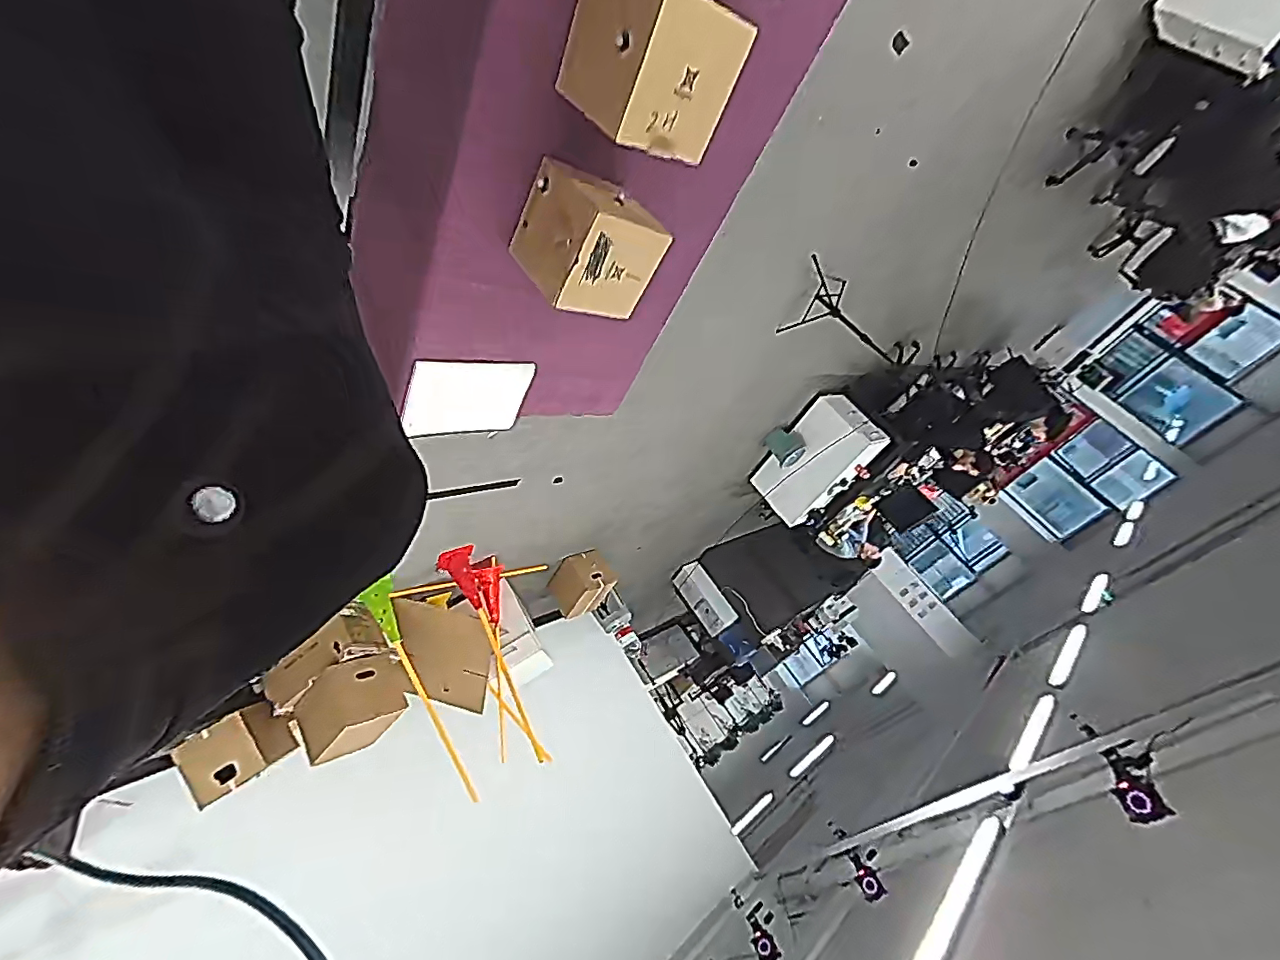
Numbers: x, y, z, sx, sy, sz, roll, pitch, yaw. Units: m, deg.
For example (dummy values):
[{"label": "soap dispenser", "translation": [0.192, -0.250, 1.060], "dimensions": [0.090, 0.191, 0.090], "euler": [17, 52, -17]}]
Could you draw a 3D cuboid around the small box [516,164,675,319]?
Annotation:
[{"label": "small box", "translation": [-0.083, -0.401, 0.918], "dimensions": [0.179, 0.176, 0.168], "euler": [-9, 144, -47]}]
